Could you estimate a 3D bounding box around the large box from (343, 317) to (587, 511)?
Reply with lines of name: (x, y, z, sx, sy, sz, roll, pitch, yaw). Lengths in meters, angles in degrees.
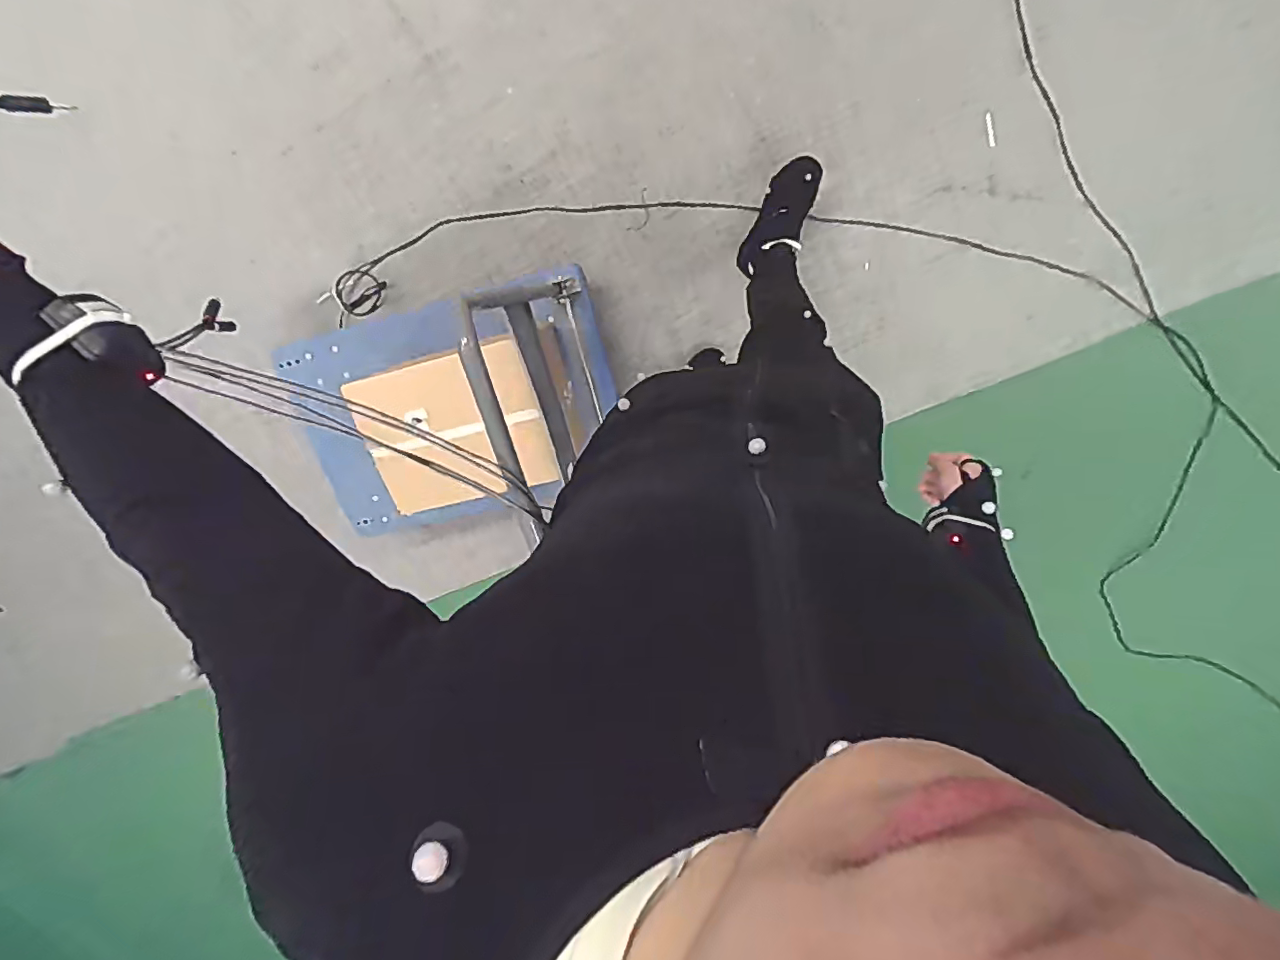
large box: (-0.381, -0.167, 1.283, 0.408, 0.320, 0.320, -12, 110, 10)
